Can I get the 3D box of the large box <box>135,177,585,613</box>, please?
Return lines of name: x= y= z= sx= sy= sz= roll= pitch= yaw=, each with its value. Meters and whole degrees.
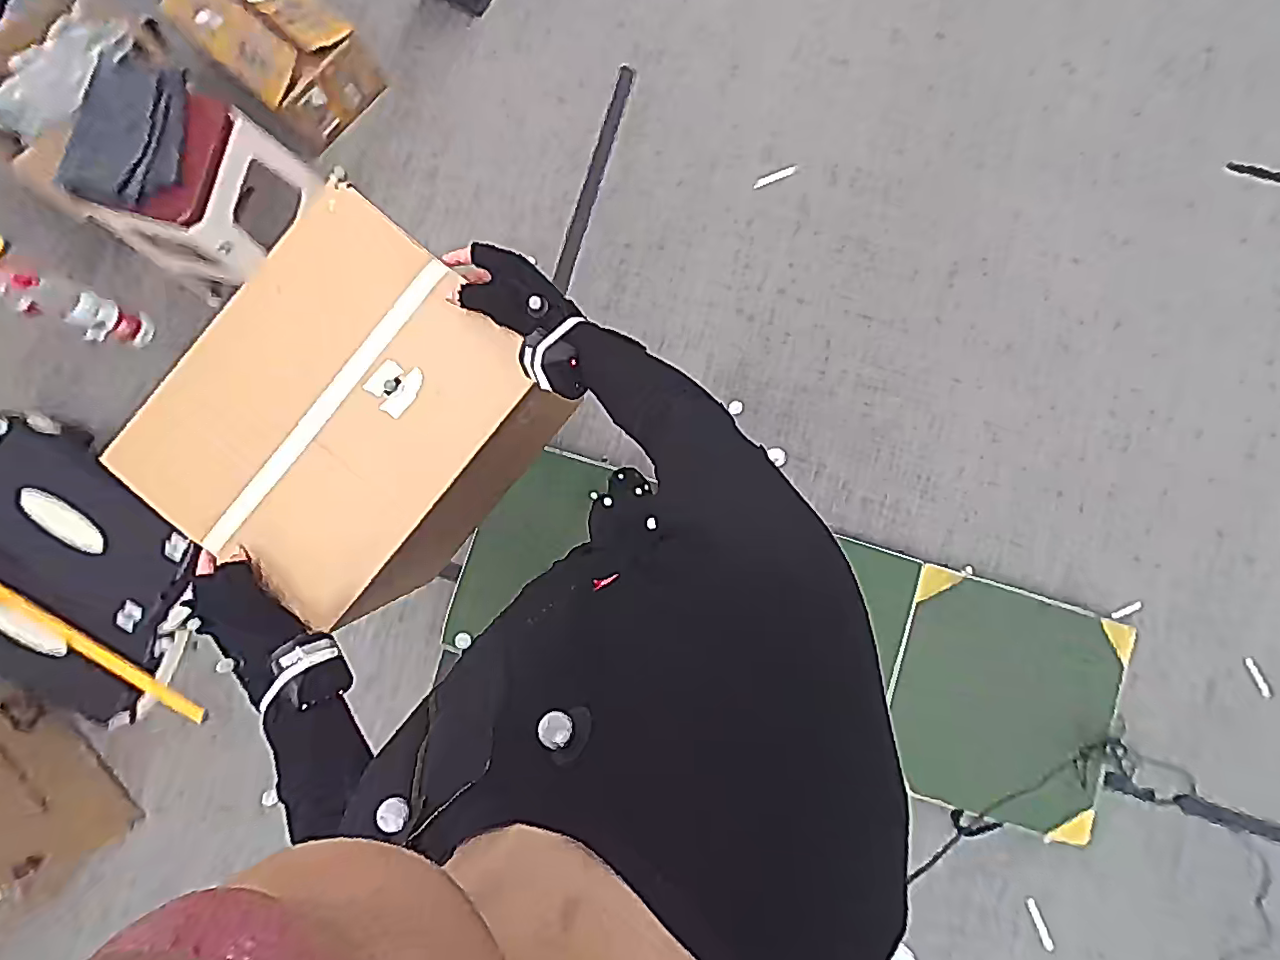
large box: x=-0.330 y=-0.093 z=0.755 sx=0.320 sy=0.320 sz=0.408 roll=40 pitch=89 yaw=0
